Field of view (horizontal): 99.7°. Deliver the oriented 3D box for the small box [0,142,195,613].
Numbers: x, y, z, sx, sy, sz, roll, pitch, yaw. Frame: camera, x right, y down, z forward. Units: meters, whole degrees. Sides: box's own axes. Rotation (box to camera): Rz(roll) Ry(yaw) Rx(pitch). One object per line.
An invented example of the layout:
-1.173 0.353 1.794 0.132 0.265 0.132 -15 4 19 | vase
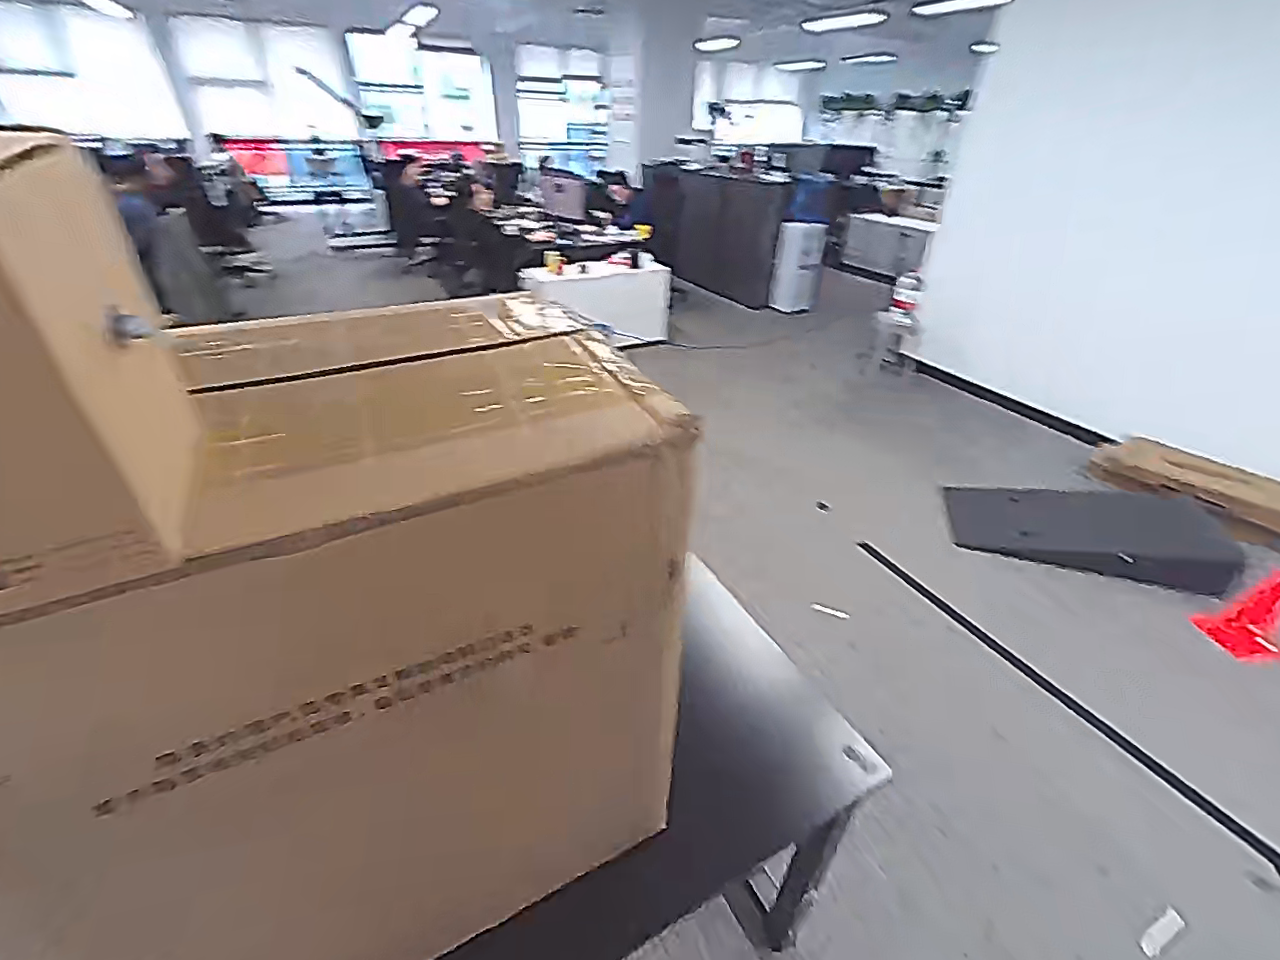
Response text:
-0.332 -0.048 0.240 0.168 0.176 0.179 -17 40 -27 | small box
